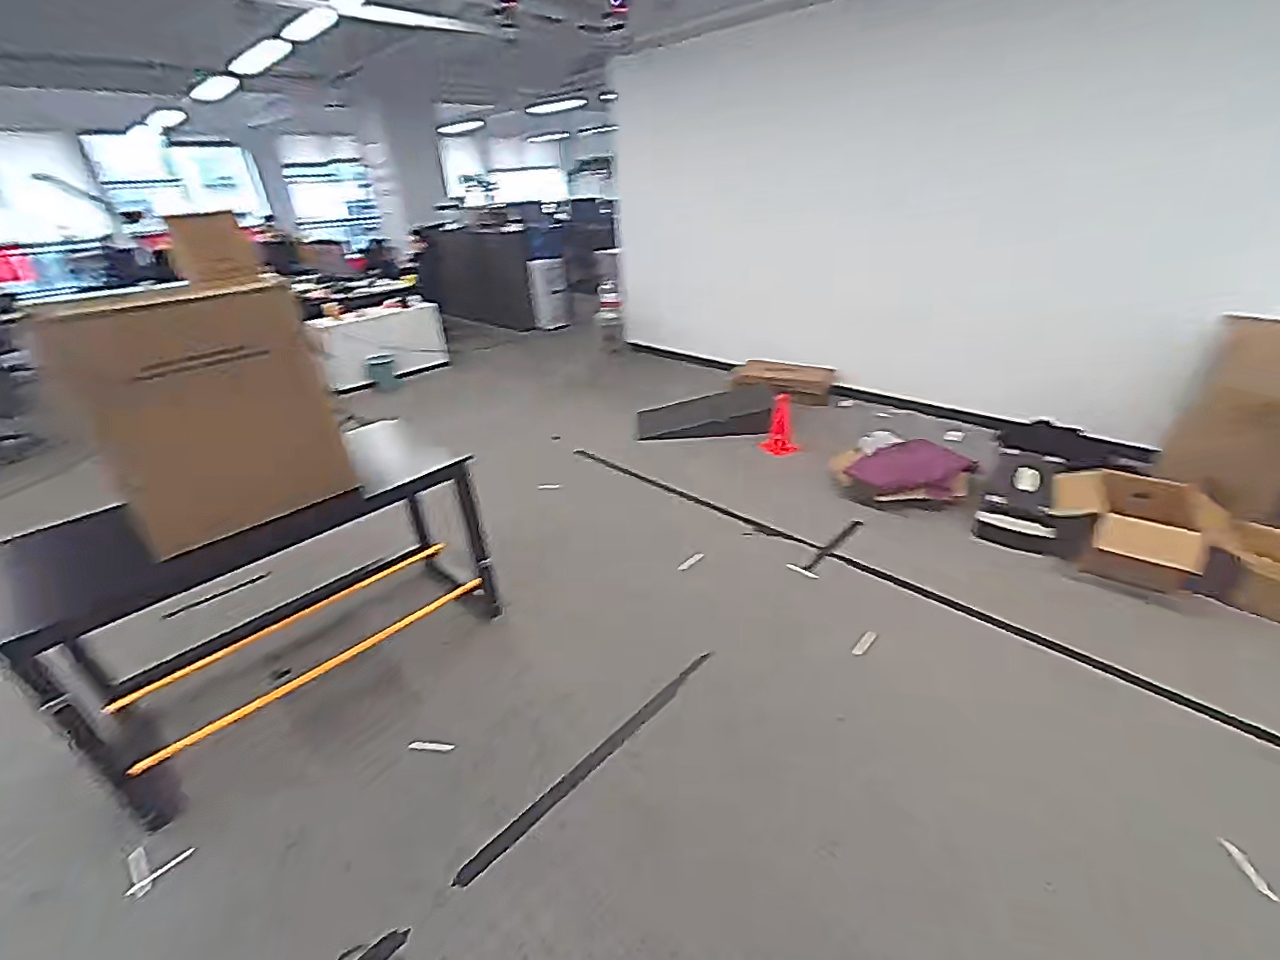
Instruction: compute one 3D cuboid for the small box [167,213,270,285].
[{"bbox_3d":[-1.186,-0.650,1.525,0.179,0.176,0.168,20,38,40],"label":"small box"}]
